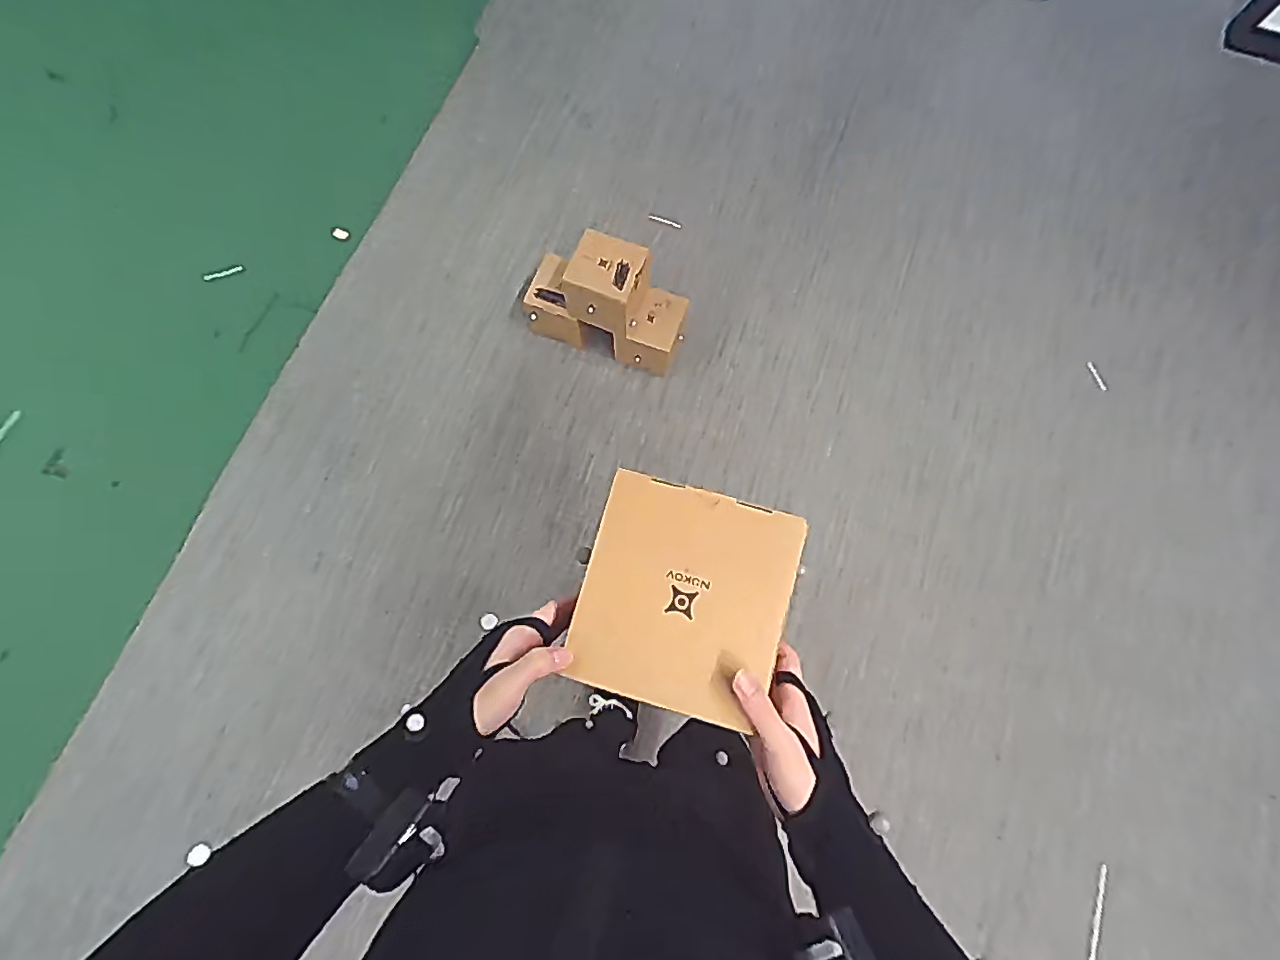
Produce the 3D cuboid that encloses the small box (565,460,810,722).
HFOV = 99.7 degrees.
[{"bbox_3d":[0.044,0.099,0.515,0.168,0.176,0.179,15,81,5],"label":"small box"}]

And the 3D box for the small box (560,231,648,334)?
[{"bbox_3d":[-0.089,-0.509,1.420,0.179,0.176,0.168,21,76,5],"label":"small box"}]

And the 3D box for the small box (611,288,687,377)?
[{"bbox_3d":[0.027,-0.427,1.571,0.168,0.176,0.179,20,76,4],"label":"small box"}]
